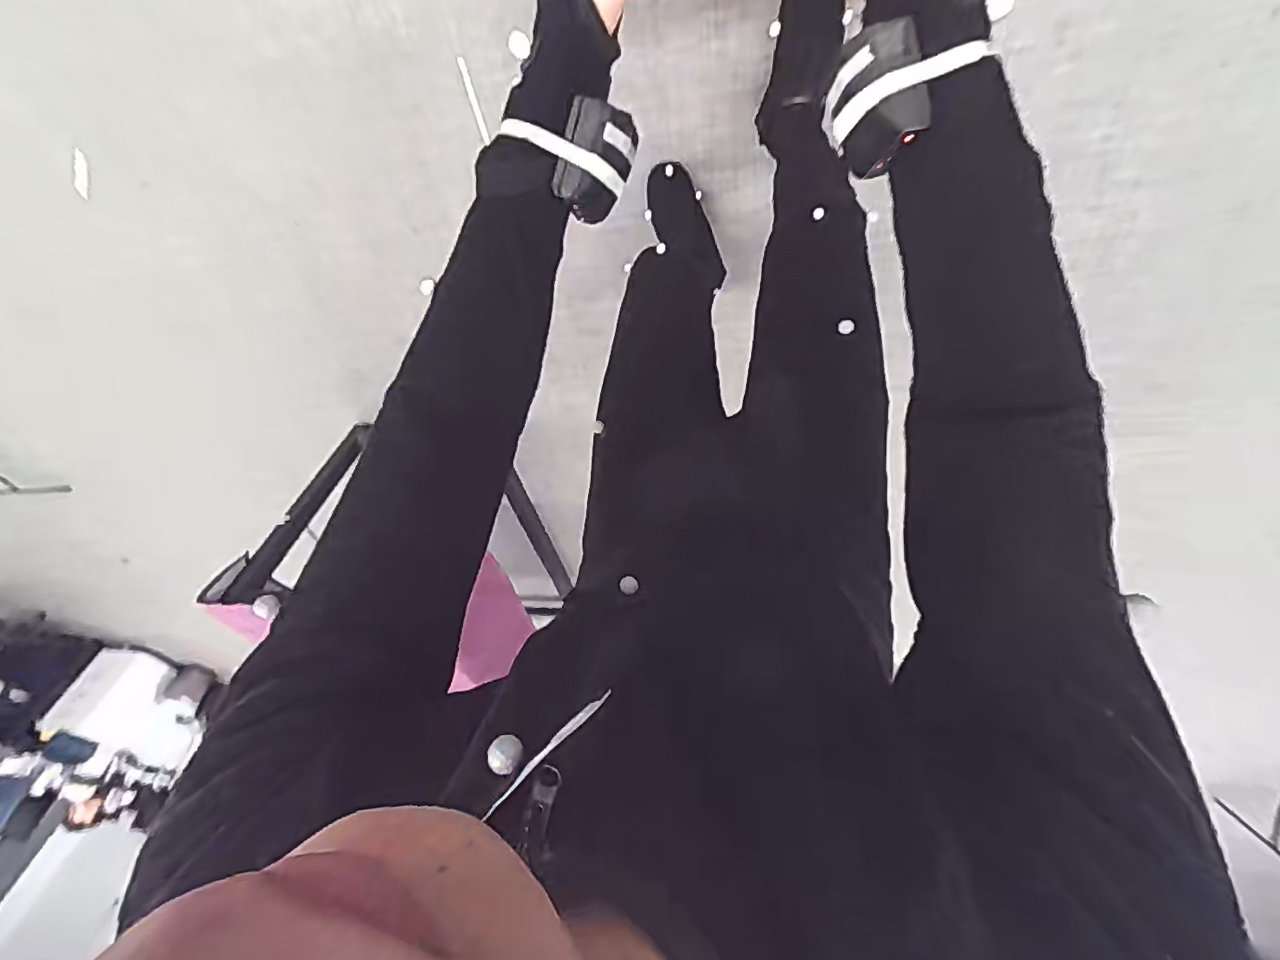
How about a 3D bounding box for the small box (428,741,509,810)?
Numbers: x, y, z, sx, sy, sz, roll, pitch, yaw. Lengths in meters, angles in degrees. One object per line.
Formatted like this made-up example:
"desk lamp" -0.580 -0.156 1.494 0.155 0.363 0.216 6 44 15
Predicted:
"small box" -0.575 0.999 1.838 0.179 0.176 0.168 -8 134 20
